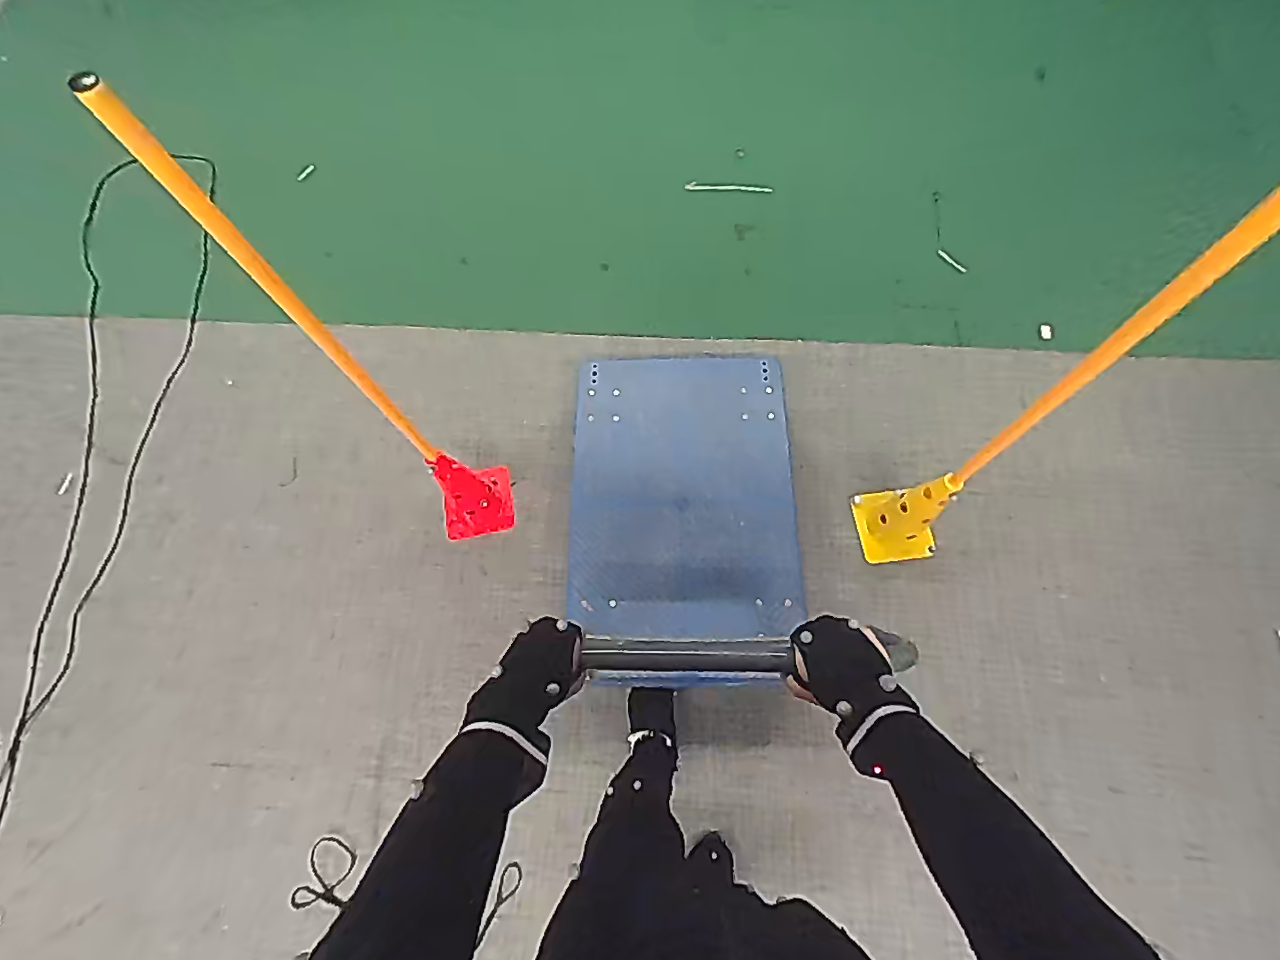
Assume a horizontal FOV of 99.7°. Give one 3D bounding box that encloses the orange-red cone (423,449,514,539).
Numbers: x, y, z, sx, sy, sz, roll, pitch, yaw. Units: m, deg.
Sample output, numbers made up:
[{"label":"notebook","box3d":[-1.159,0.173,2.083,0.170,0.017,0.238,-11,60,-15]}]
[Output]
[{"label":"orange-red cone","box3d":[-0.480,0.007,1.421,0.199,0.360,0.198,-11,69,-1]}]
